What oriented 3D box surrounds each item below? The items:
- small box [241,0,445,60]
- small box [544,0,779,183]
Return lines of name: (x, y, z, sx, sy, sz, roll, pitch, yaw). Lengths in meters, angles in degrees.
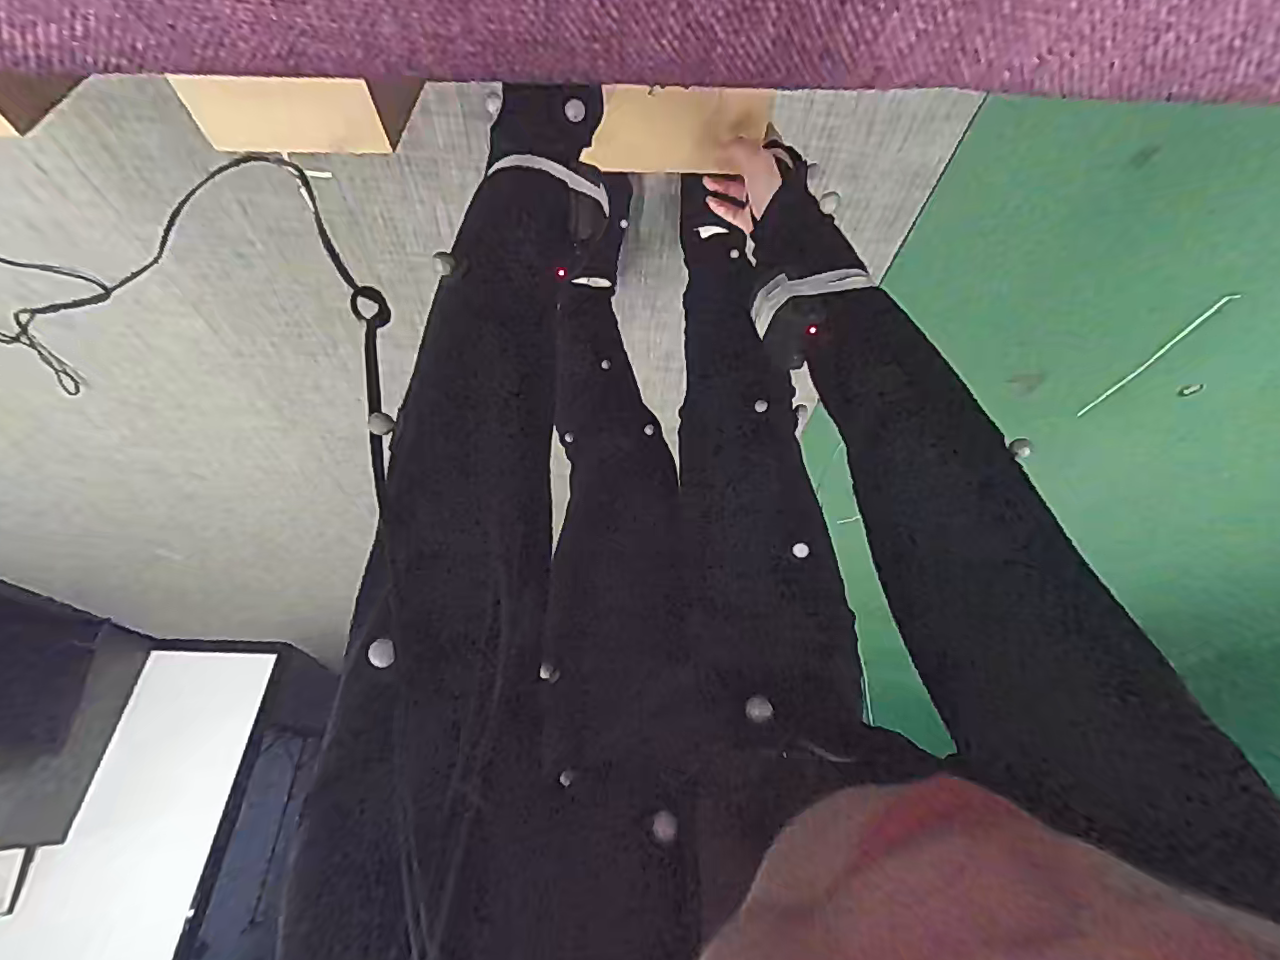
small box: (-0.308, -0.563, 0.547, 0.179, 0.176, 0.168, 2, 150, -1)
small box: (0.016, -0.398, 0.483, 0.179, 0.176, 0.168, 1, 153, -1)
